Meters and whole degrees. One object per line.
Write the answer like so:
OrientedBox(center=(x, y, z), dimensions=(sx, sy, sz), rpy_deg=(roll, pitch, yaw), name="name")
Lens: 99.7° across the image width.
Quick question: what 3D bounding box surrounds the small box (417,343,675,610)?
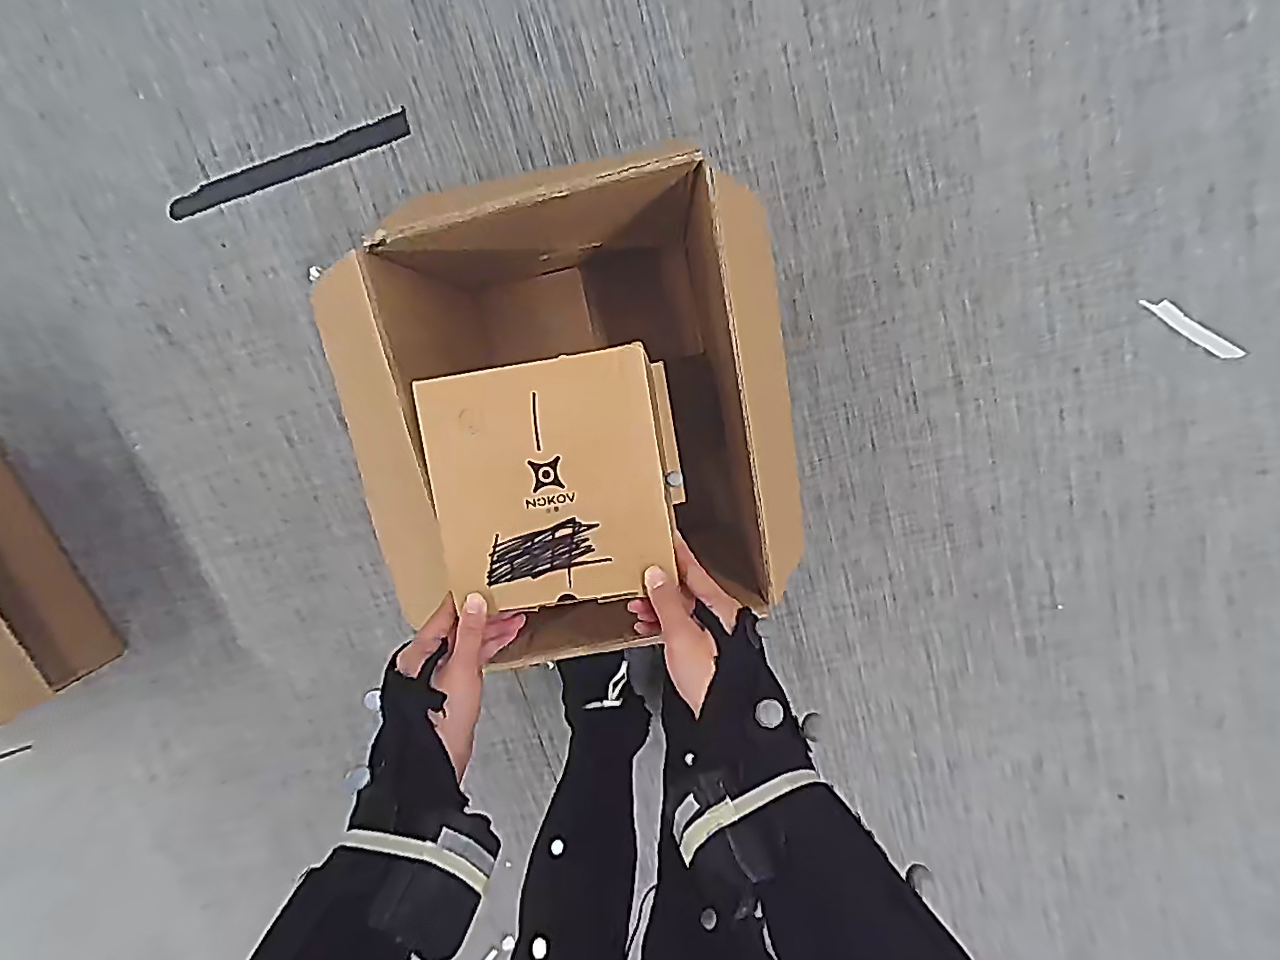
OrientedBox(center=(-0.061, -0.007, 0.465), dimensions=(0.168, 0.176, 0.179), rpy_deg=(-9, 94, 4), name="small box")
